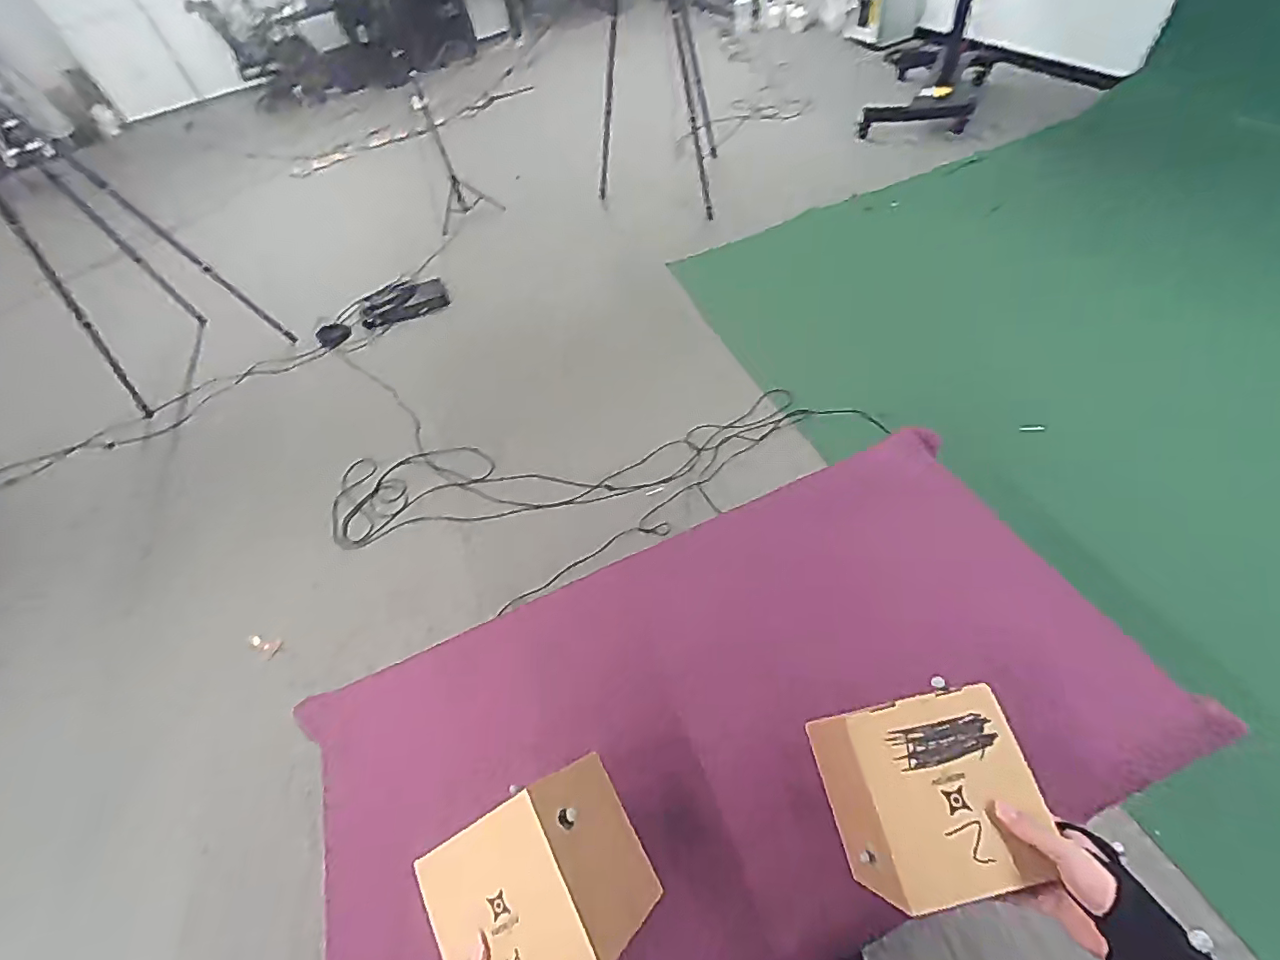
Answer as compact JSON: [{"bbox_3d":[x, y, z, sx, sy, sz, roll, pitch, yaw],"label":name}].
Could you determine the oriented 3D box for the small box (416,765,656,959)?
[{"bbox_3d":[-0.110,0.450,0.612,0.168,0.176,0.179,-37,66,11],"label":"small box"}]
